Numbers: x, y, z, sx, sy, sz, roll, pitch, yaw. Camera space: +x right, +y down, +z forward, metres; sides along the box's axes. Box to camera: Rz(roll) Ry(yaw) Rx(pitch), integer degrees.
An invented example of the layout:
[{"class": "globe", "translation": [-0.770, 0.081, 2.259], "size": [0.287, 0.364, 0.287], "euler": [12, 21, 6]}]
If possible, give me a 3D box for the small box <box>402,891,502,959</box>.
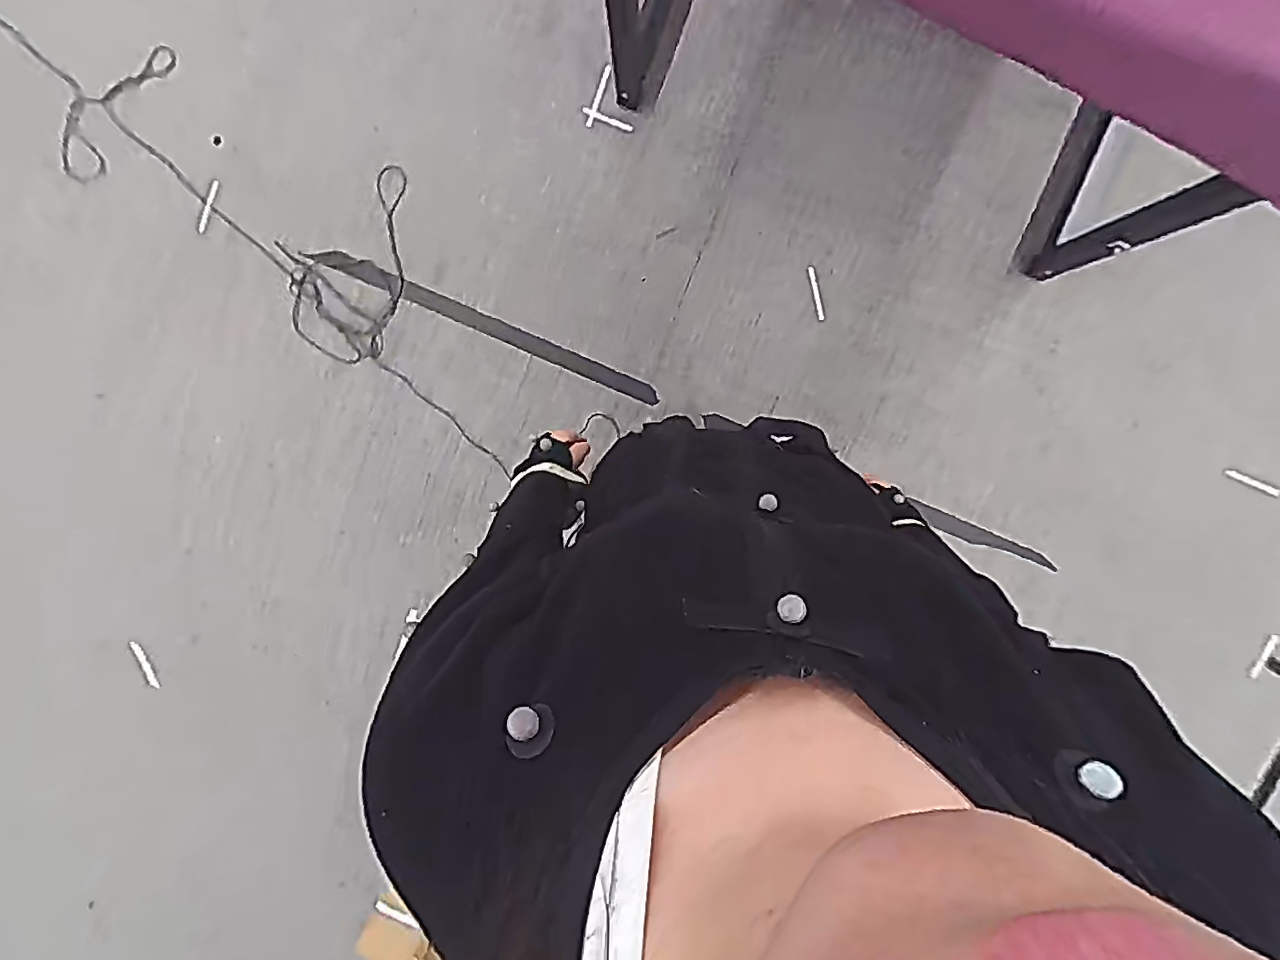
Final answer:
[{"class": "small box", "translation": [-0.446, 1.108, 1.247], "size": [0.179, 0.176, 0.168], "euler": [31, 96, -1]}]
